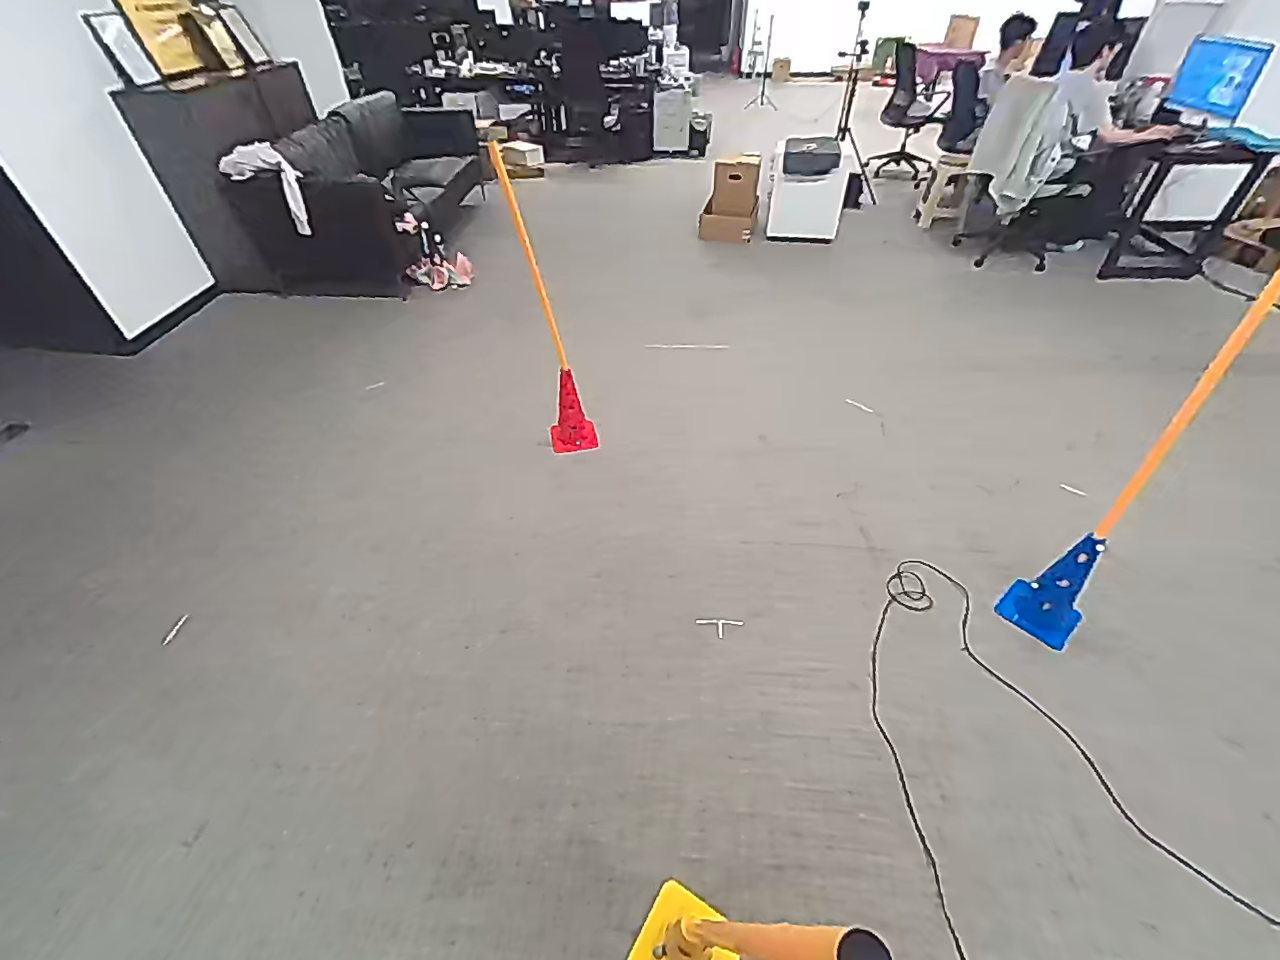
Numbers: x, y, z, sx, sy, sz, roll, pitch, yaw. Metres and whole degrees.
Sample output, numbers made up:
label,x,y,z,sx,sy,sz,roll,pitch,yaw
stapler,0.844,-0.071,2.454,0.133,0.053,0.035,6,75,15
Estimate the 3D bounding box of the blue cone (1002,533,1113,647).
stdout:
label,x,y,z,sx,sy,sz,roll,pitch,yaw
blue cone,1.271,0.296,1.610,0.193,0.380,0.192,-30,49,-31
